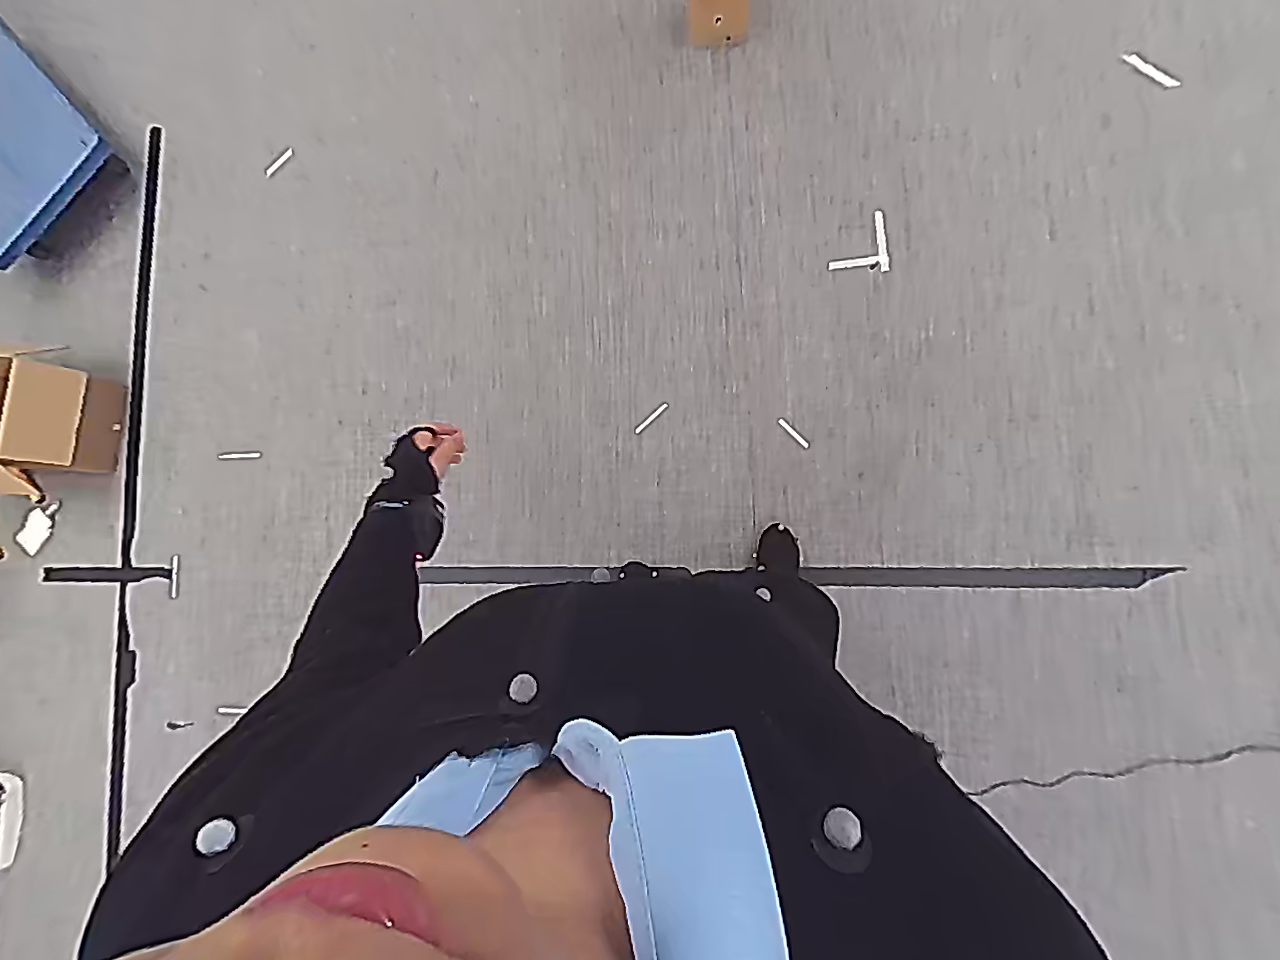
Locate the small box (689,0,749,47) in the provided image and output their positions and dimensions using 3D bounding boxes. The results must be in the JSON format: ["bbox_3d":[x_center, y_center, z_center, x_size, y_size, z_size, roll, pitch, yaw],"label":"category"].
[{"bbox_3d":[0.230,-1.391,1.553,0.168,0.176,0.179,0,84,9],"label":"small box"}]
